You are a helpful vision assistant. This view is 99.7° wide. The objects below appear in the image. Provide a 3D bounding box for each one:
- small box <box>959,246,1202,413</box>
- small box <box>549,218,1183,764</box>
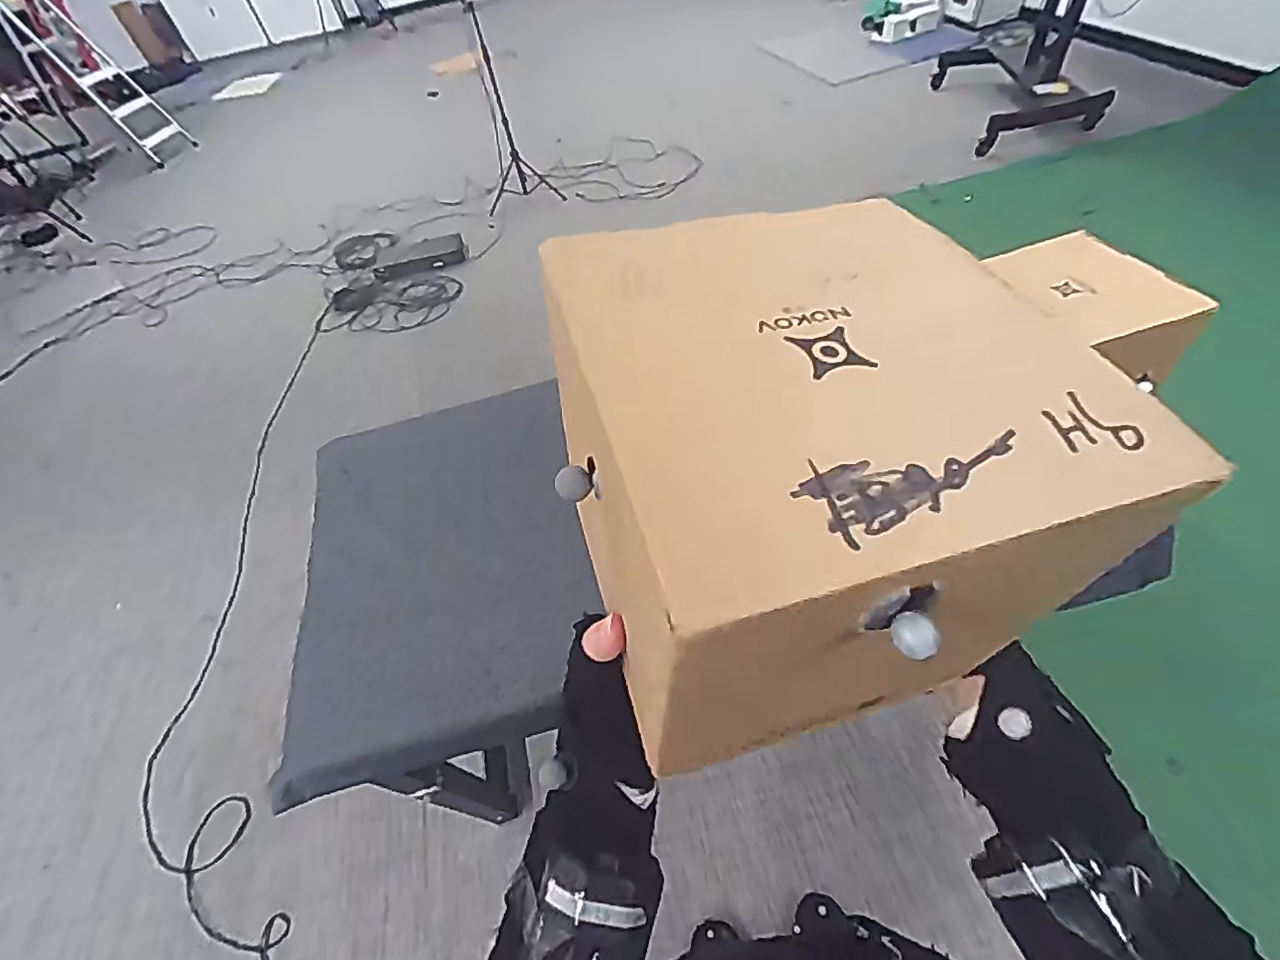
[{"bbox_3d":[0.442,-0.130,0.616,0.179,0.176,0.168,-19,49,-3],"label":"small box"},{"bbox_3d":[0.060,0.004,0.258,0.168,0.176,0.179,-13,52,-10],"label":"small box"}]
